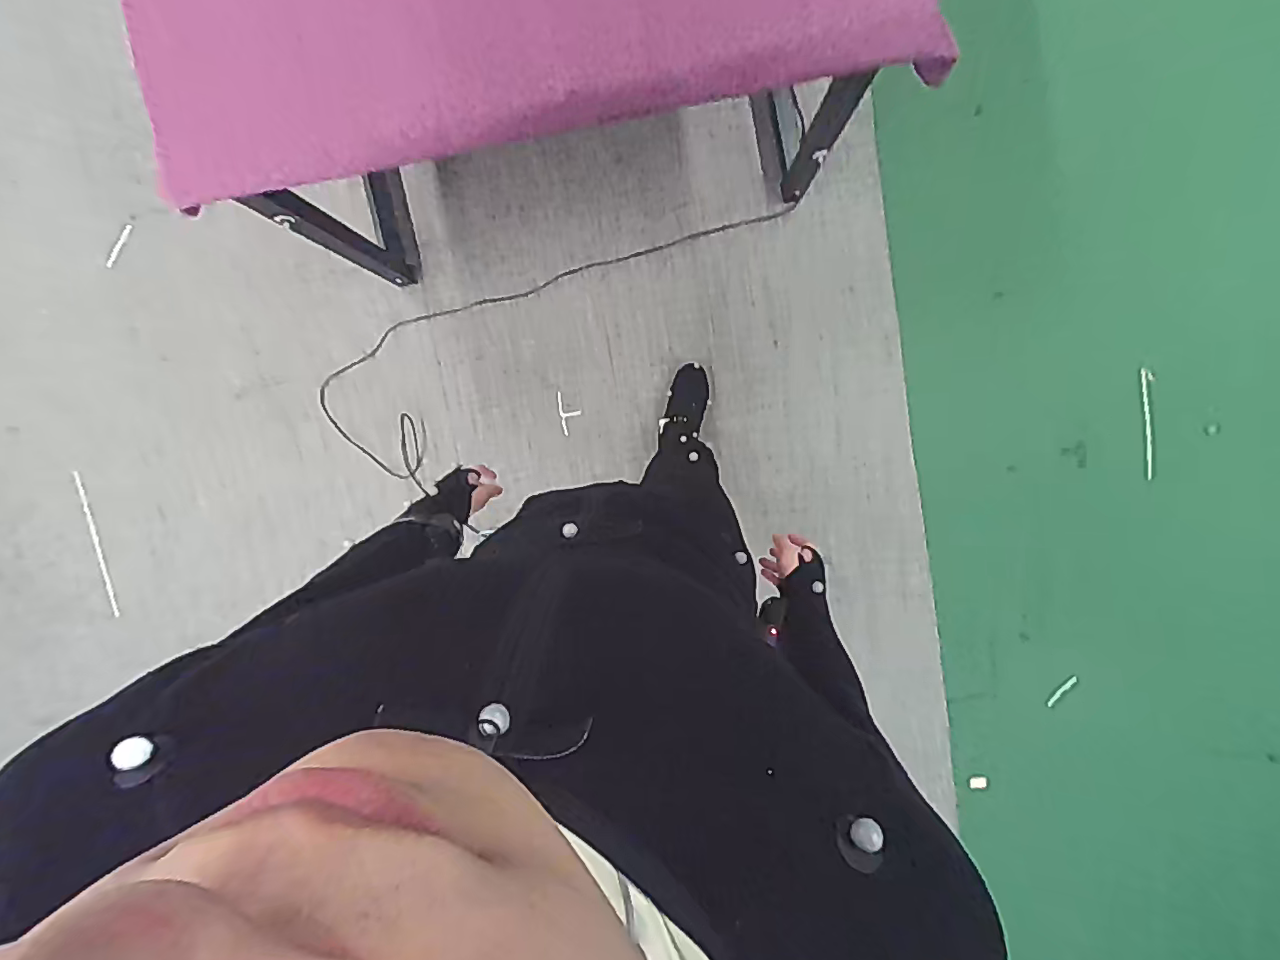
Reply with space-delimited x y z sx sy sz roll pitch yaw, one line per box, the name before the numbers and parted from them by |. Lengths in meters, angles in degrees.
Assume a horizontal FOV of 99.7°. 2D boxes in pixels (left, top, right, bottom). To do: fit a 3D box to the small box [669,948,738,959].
small box | 0.153 1.210 1.225 0.168 0.176 0.179 -4 96 4
